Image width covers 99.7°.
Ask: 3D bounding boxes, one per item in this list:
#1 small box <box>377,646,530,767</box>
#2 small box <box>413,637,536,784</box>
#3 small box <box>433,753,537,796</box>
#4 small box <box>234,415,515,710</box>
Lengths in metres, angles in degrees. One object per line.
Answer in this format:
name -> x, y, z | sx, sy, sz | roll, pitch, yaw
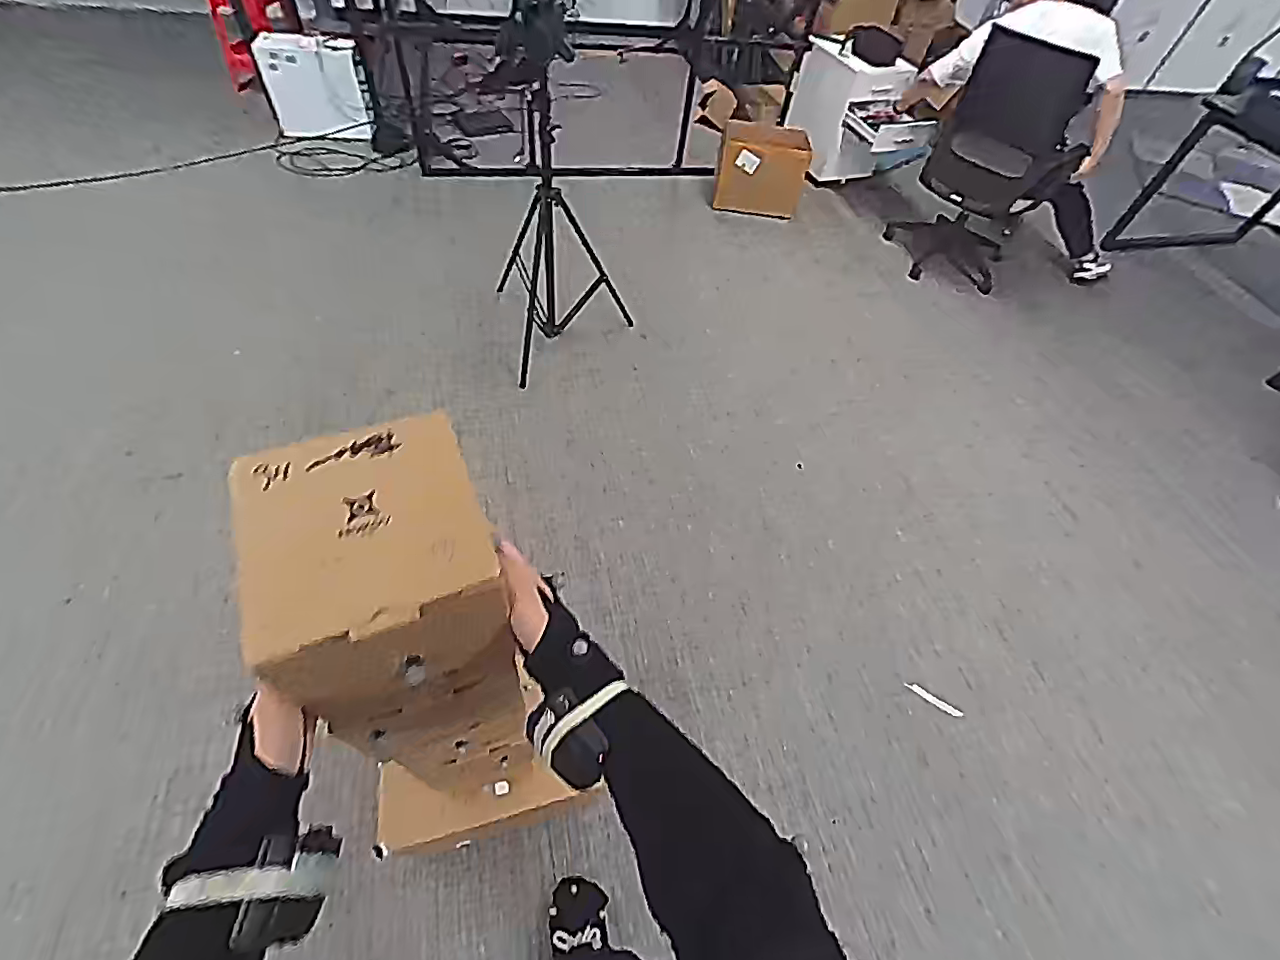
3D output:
small box -> -0.250, 0.267, 0.730 | 0.168, 0.176, 0.179 | -14, 57, -18
small box -> -0.263, 0.365, 0.861 | 0.168, 0.176, 0.179 | -11, 55, -16
small box -> -0.286, 0.456, 0.993 | 0.168, 0.176, 0.179 | -10, 57, -14
small box -> -0.212, 0.077, 0.465 | 0.168, 0.176, 0.179 | -17, 60, -20
